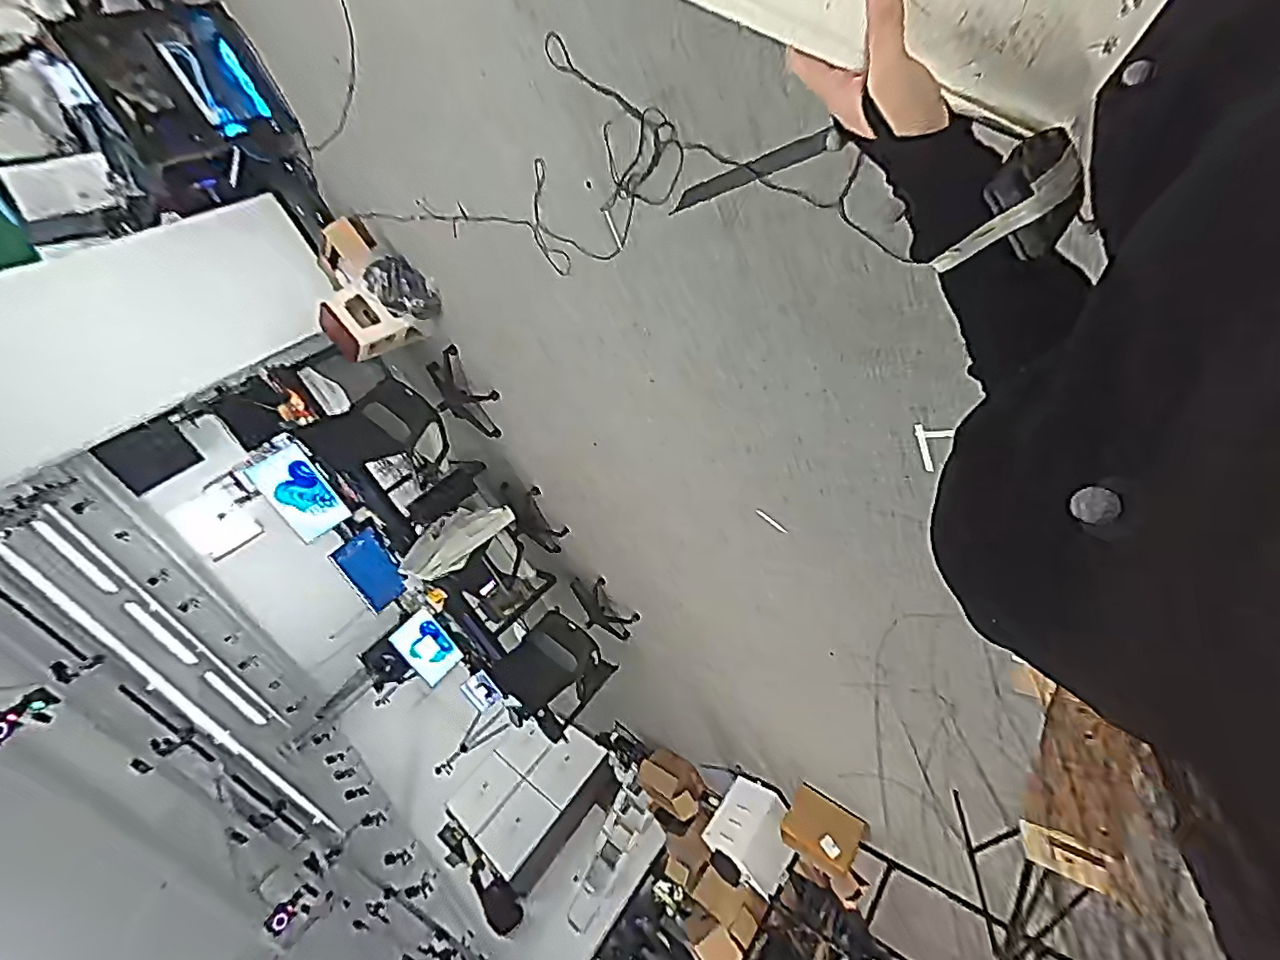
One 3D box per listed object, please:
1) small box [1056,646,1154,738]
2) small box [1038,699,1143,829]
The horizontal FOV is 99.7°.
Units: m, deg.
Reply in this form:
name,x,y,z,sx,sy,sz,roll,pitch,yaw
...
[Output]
name,x,y,z,sx,sy,sz,roll,pitch,yaw
small box,1.141,0.544,1.335,0.168,0.176,0.179,11,134,44
small box,1.042,0.647,1.254,0.168,0.176,0.179,9,131,46
